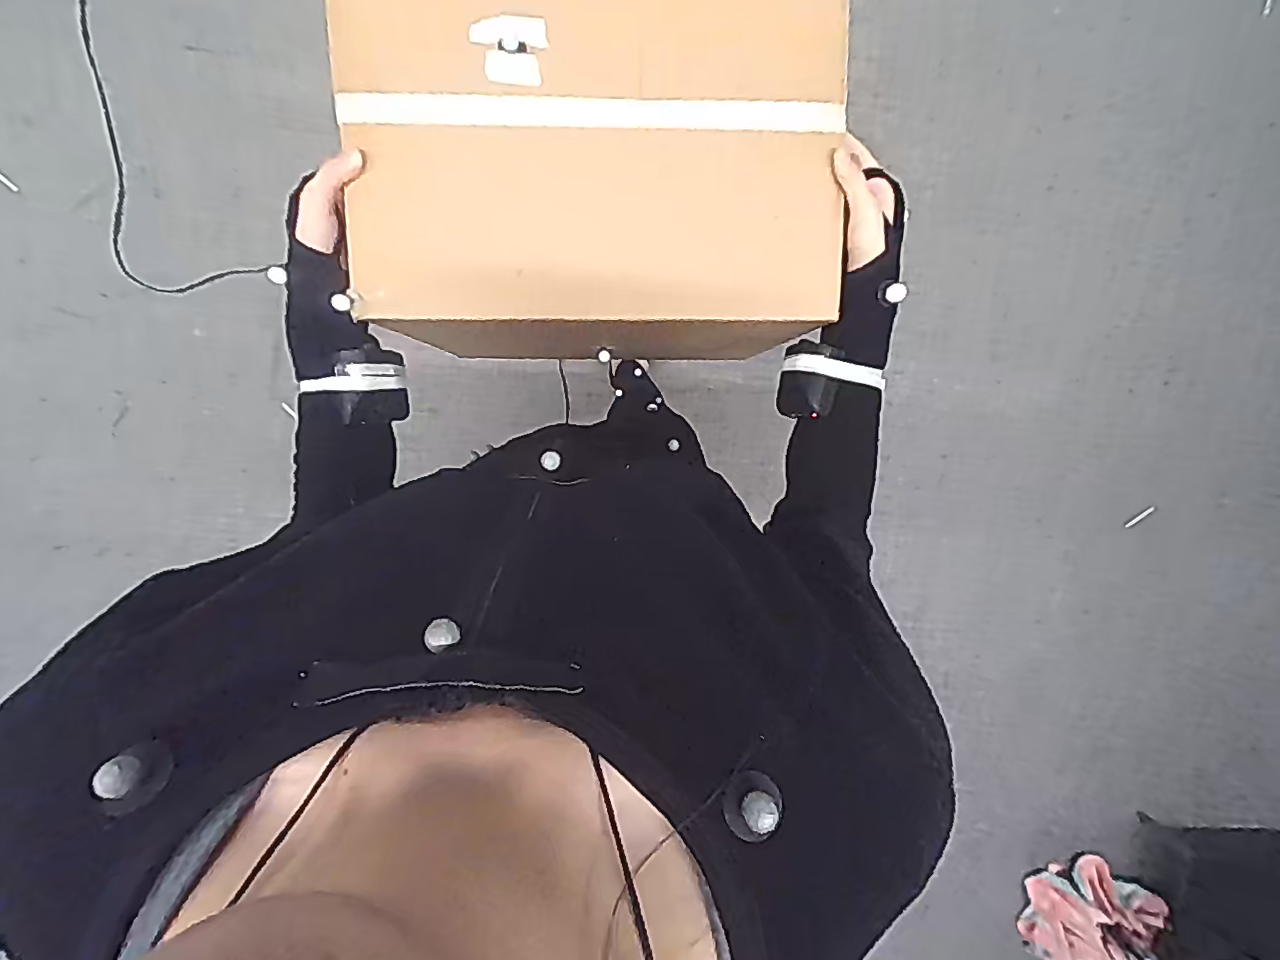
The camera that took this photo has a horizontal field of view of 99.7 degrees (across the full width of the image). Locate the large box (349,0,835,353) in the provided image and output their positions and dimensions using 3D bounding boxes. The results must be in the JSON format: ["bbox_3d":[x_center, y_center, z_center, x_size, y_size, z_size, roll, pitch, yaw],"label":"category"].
[{"bbox_3d":[-0.041,-0.310,0.599,0.408,0.320,0.320,0,96,-3],"label":"large box"}]
